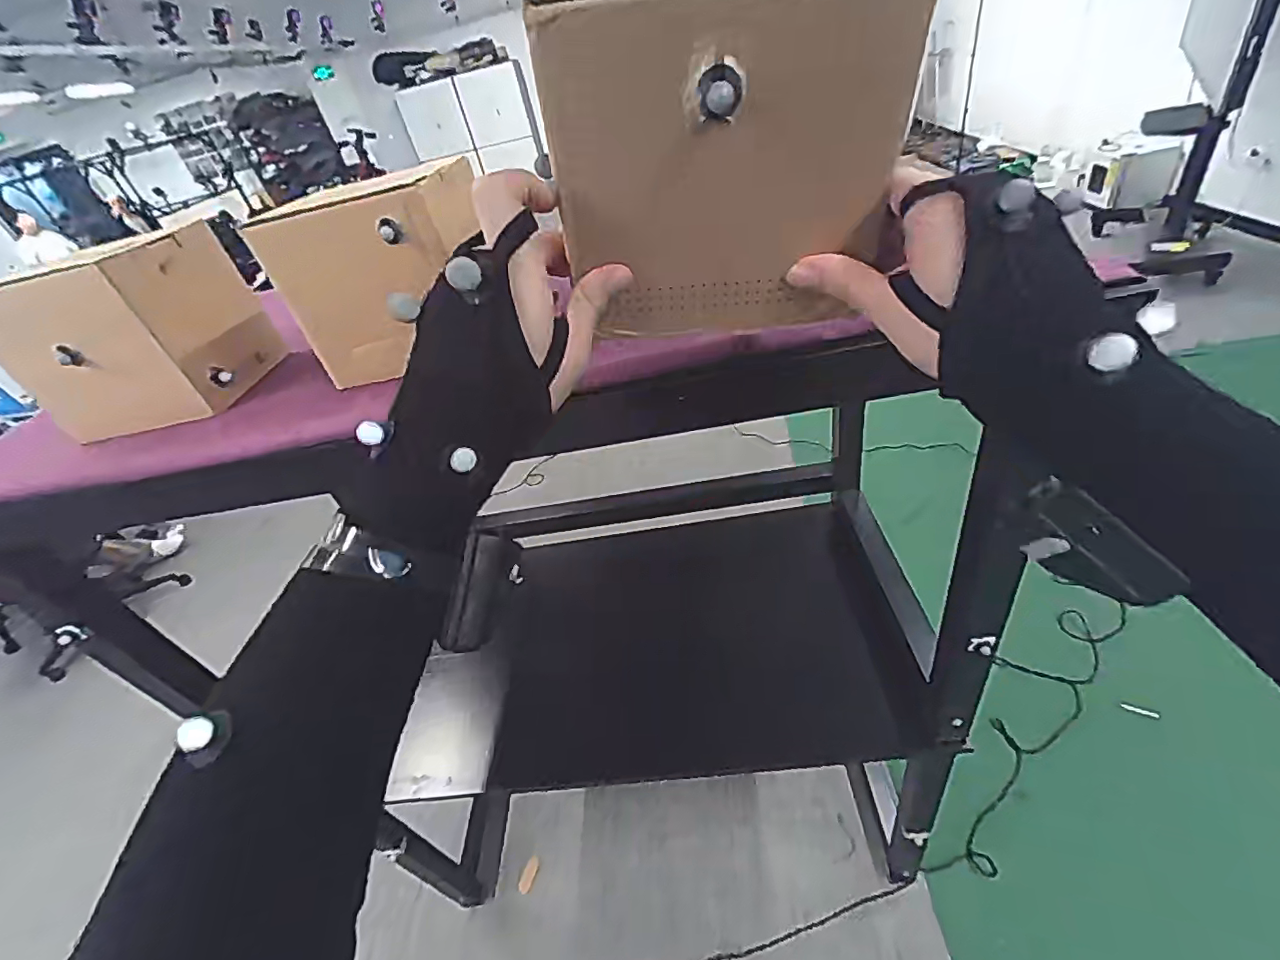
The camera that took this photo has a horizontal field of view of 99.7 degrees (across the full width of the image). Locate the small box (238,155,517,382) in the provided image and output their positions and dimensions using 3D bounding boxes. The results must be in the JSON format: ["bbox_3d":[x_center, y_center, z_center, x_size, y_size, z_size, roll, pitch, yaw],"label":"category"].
[{"bbox_3d":[-0.252,-0.220,0.572,0.179,0.176,0.168,-9,38,7],"label":"small box"}]

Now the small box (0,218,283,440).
[{"bbox_3d":[-0.556,-0.167,0.606,0.179,0.176,0.168,-11,37,7],"label":"small box"}]

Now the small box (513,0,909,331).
[{"bbox_3d":[0.038,-0.207,0.335,0.179,0.176,0.168,-4,46,3],"label":"small box"}]
